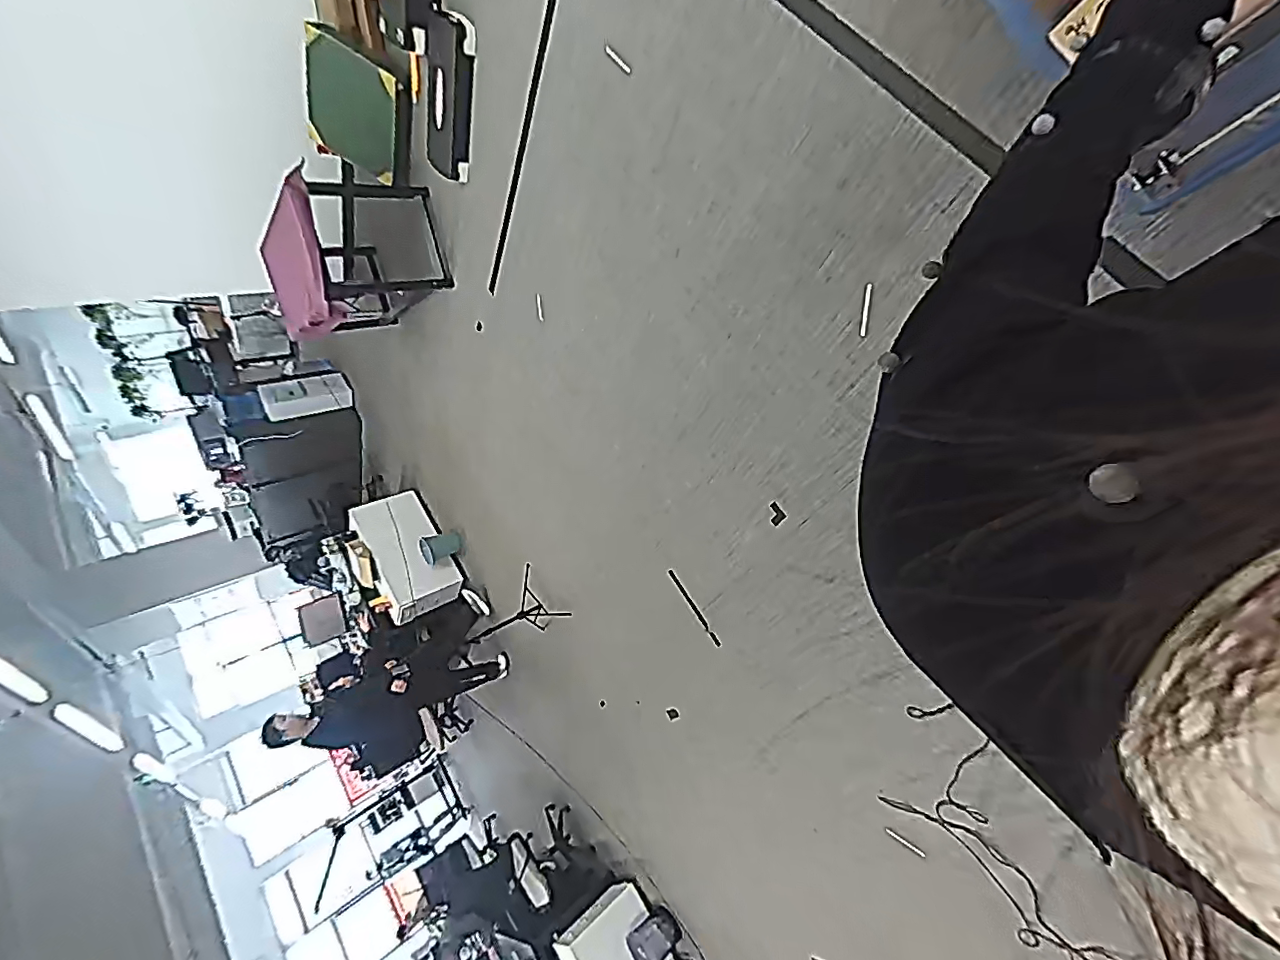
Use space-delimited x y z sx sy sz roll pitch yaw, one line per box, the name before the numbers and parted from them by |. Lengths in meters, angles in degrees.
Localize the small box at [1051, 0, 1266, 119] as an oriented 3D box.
small box | 0.767 -0.672 0.801 0.179 0.176 0.168 60 141 10
